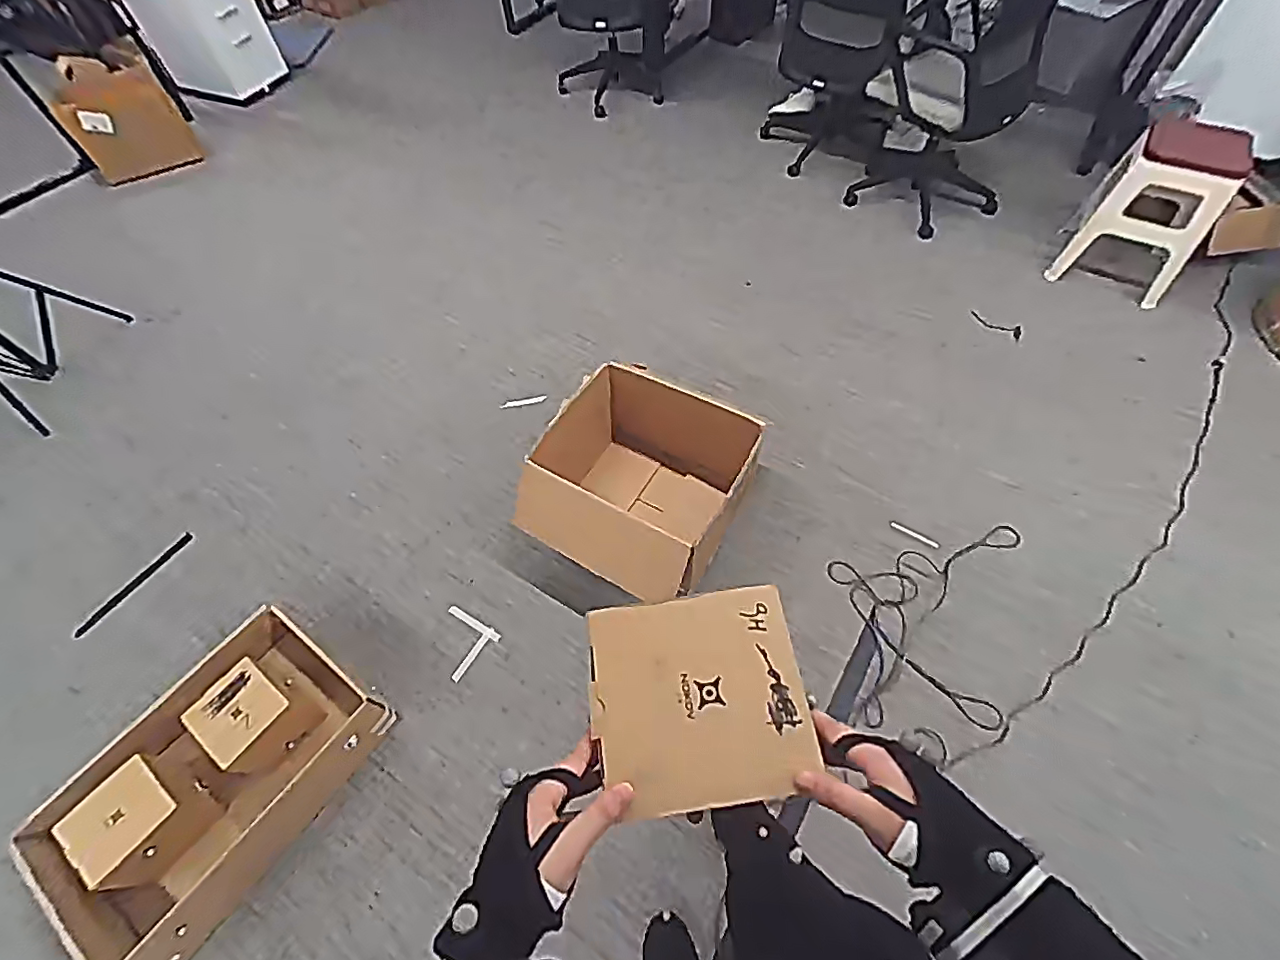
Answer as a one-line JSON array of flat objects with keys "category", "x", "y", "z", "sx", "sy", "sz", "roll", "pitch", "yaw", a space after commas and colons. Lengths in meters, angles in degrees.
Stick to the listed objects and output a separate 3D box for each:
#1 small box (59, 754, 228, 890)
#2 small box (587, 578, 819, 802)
[{"category": "small box", "x": -1.049, "y": 0.727, "z": 1.158, "sx": 0.168, "sy": 0.176, "sz": 0.179, "roll": 33, "pitch": 63, "yaw": 18}, {"category": "small box", "x": 0.051, "y": 0.211, "z": 0.532, "sx": 0.179, "sy": 0.176, "sz": 0.168, "roll": -8, "pitch": 61, "yaw": -2}]
